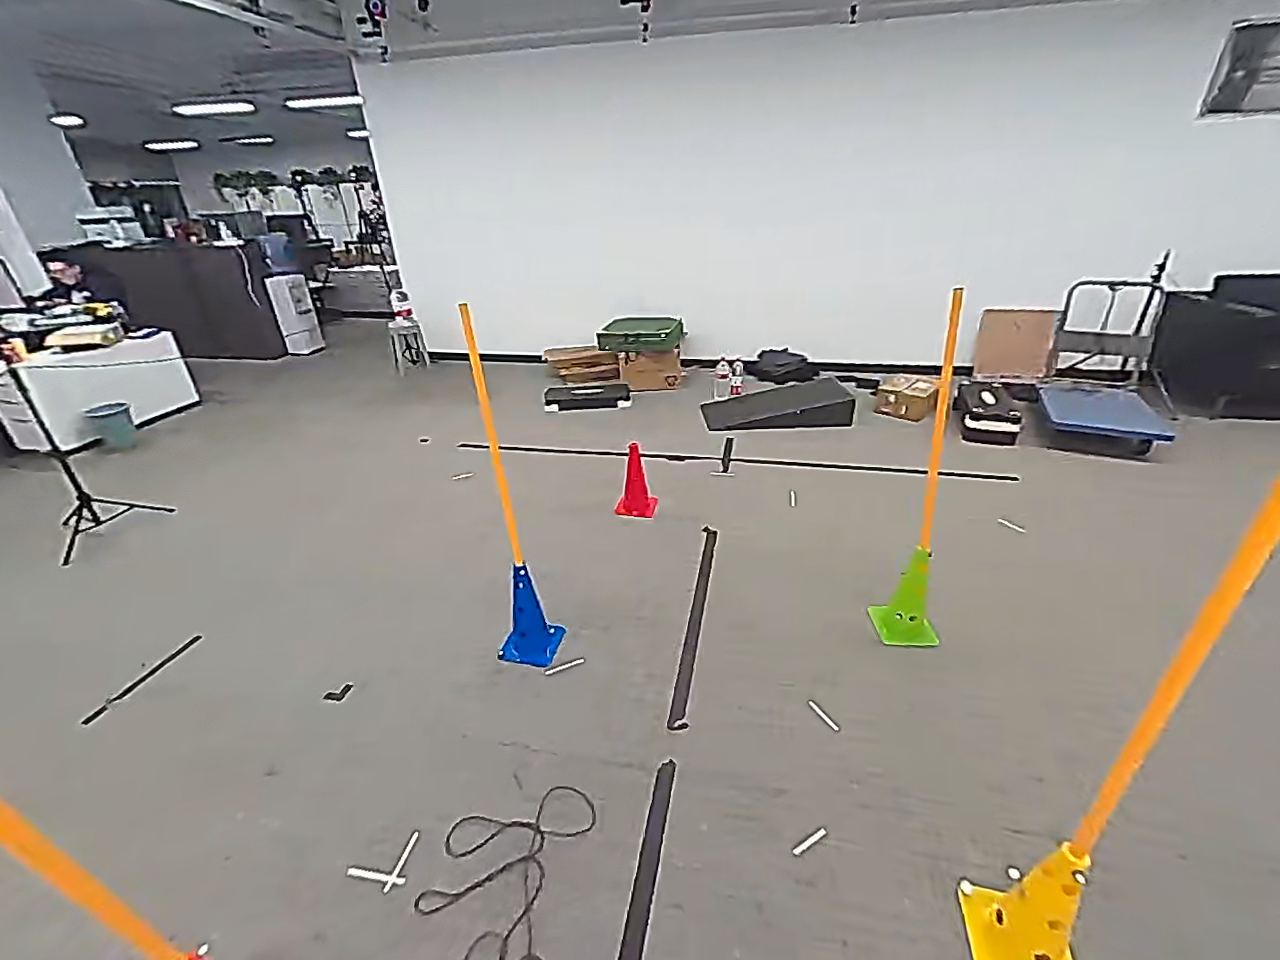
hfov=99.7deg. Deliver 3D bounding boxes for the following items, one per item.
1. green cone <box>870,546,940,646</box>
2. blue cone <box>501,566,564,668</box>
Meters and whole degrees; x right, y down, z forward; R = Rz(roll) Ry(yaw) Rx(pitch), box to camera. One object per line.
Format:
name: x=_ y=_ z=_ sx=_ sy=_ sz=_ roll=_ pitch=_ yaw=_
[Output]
green cone: x=0.970 y=0.387 z=1.916 sx=0.200 sy=0.368 sz=0.202 roll=-1 pitch=30 yaw=3
blue cone: x=-0.393 y=0.456 z=1.895 sx=0.193 sy=0.380 sz=0.192 roll=6 pitch=29 yaw=14
